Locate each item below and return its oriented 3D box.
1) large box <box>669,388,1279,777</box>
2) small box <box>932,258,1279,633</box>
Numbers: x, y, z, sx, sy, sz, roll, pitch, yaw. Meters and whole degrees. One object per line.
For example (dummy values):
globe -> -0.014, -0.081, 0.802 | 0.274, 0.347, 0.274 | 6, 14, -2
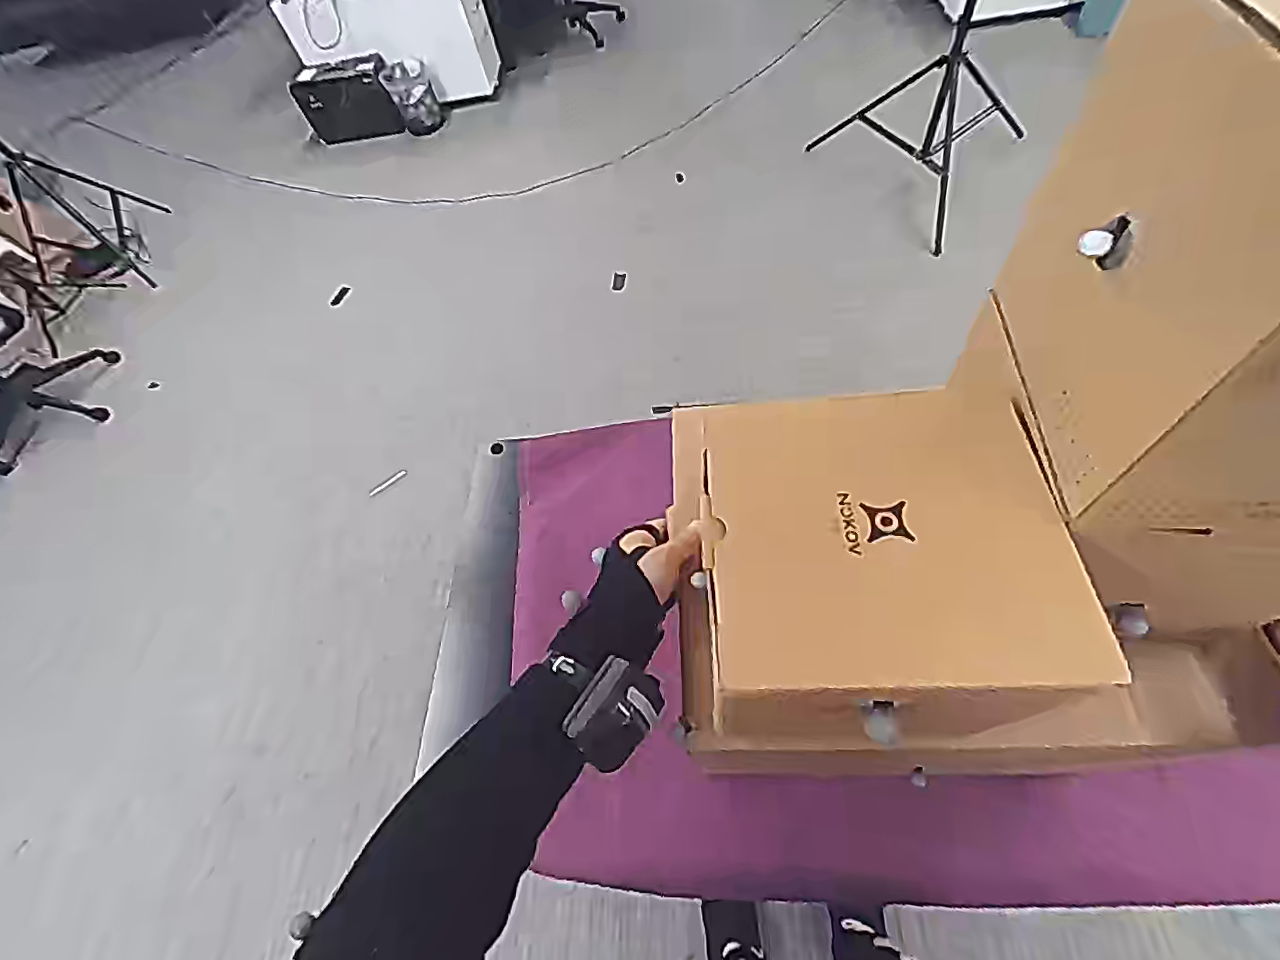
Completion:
large box -> 0.253, 0.127, 0.569 | 0.408, 0.320, 0.320 | -5, 57, 8
small box -> 0.311, -0.015, 0.354 | 0.168, 0.176, 0.179 | 0, 58, 12
